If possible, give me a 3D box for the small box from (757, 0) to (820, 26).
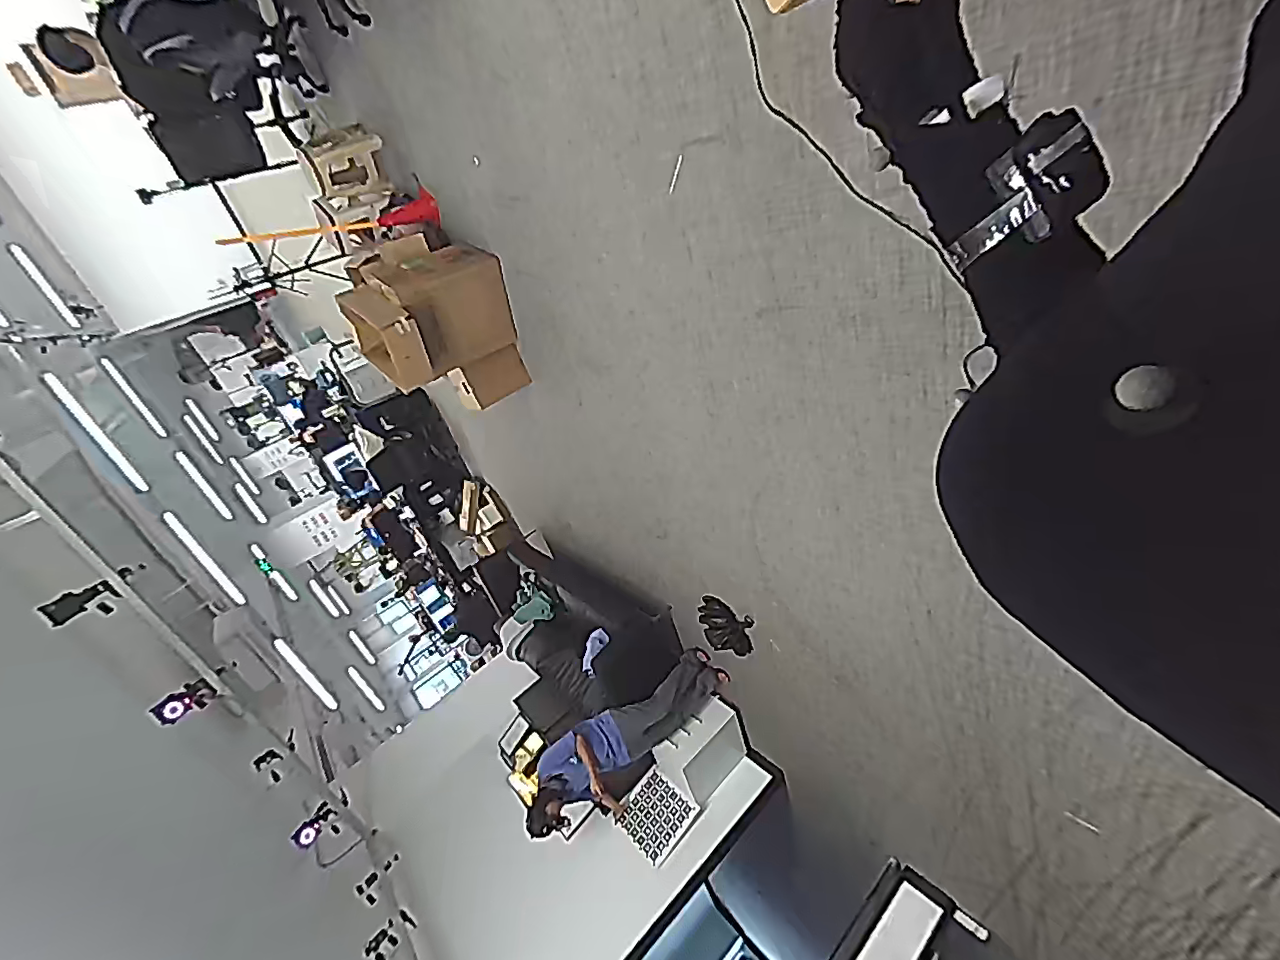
[{"bbox_3d":[0.156,-0.472,0.362,0.168,0.176,0.179,2,129,59],"label":"small box"}]
